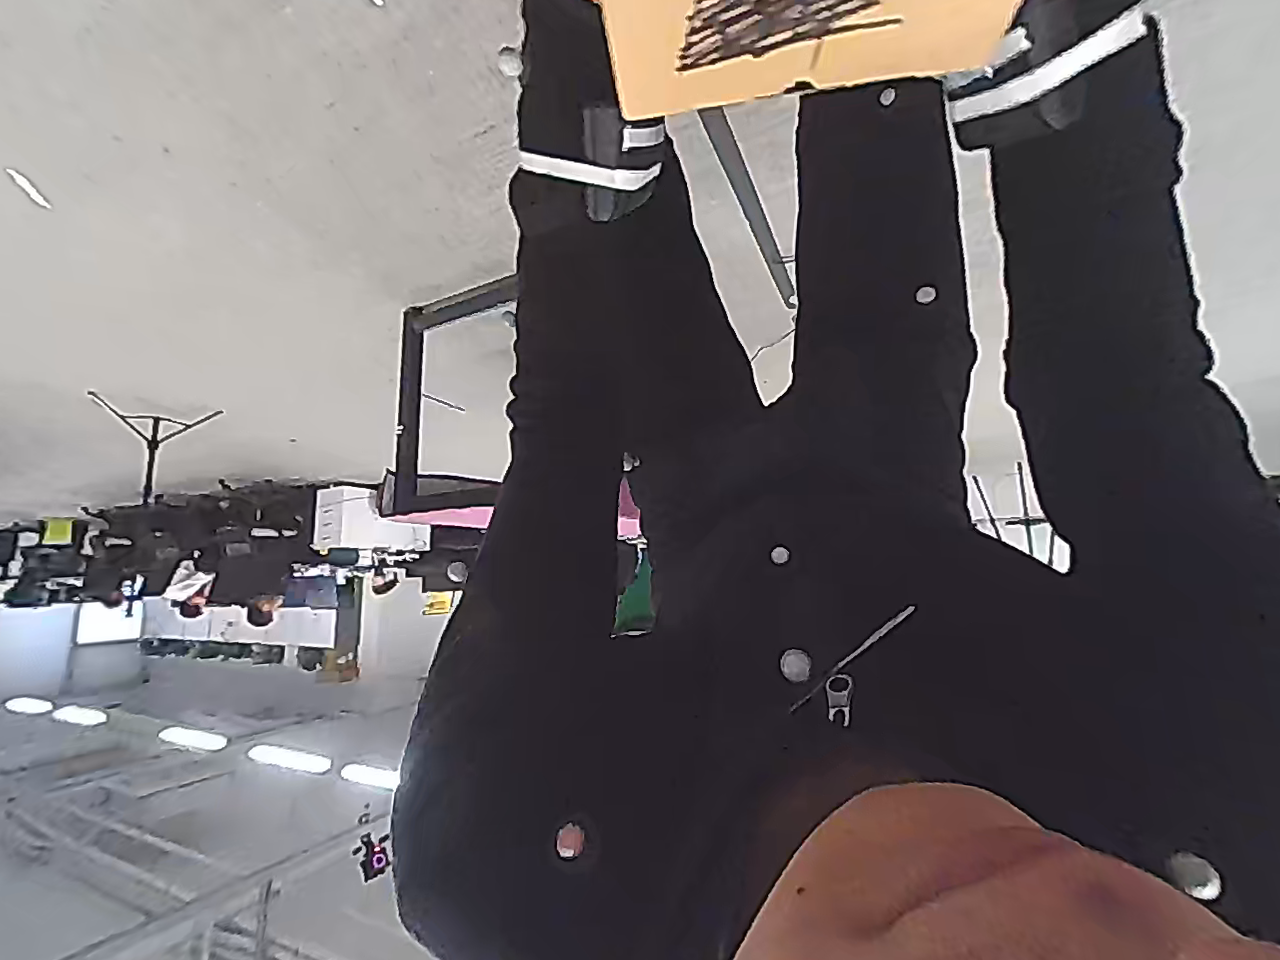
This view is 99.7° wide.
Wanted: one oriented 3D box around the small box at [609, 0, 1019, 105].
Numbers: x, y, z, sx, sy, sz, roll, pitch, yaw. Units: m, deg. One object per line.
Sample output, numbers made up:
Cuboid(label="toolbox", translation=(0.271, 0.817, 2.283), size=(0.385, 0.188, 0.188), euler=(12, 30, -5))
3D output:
Cuboid(label="small box", translation=(0.062, -0.279, 0.182), size=(0.168, 0.176, 0.179), euler=(-4, 168, 7))
